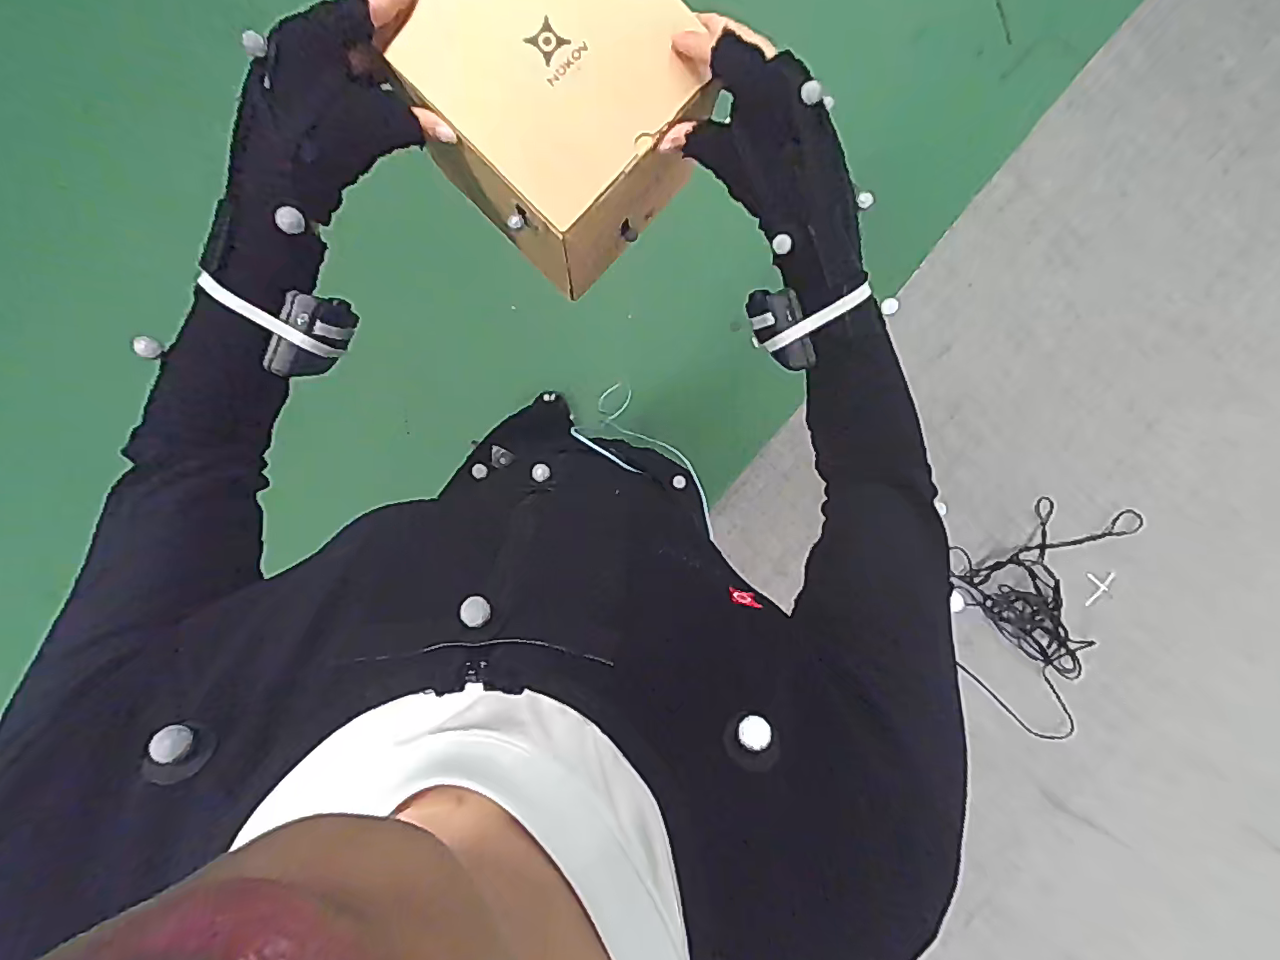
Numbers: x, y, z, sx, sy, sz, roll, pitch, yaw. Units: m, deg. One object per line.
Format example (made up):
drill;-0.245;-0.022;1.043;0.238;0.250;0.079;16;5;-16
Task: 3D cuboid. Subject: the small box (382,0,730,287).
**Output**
small box;-0.061;-0.291;0.441;0.179;0.176;0.168;44;89;-8
